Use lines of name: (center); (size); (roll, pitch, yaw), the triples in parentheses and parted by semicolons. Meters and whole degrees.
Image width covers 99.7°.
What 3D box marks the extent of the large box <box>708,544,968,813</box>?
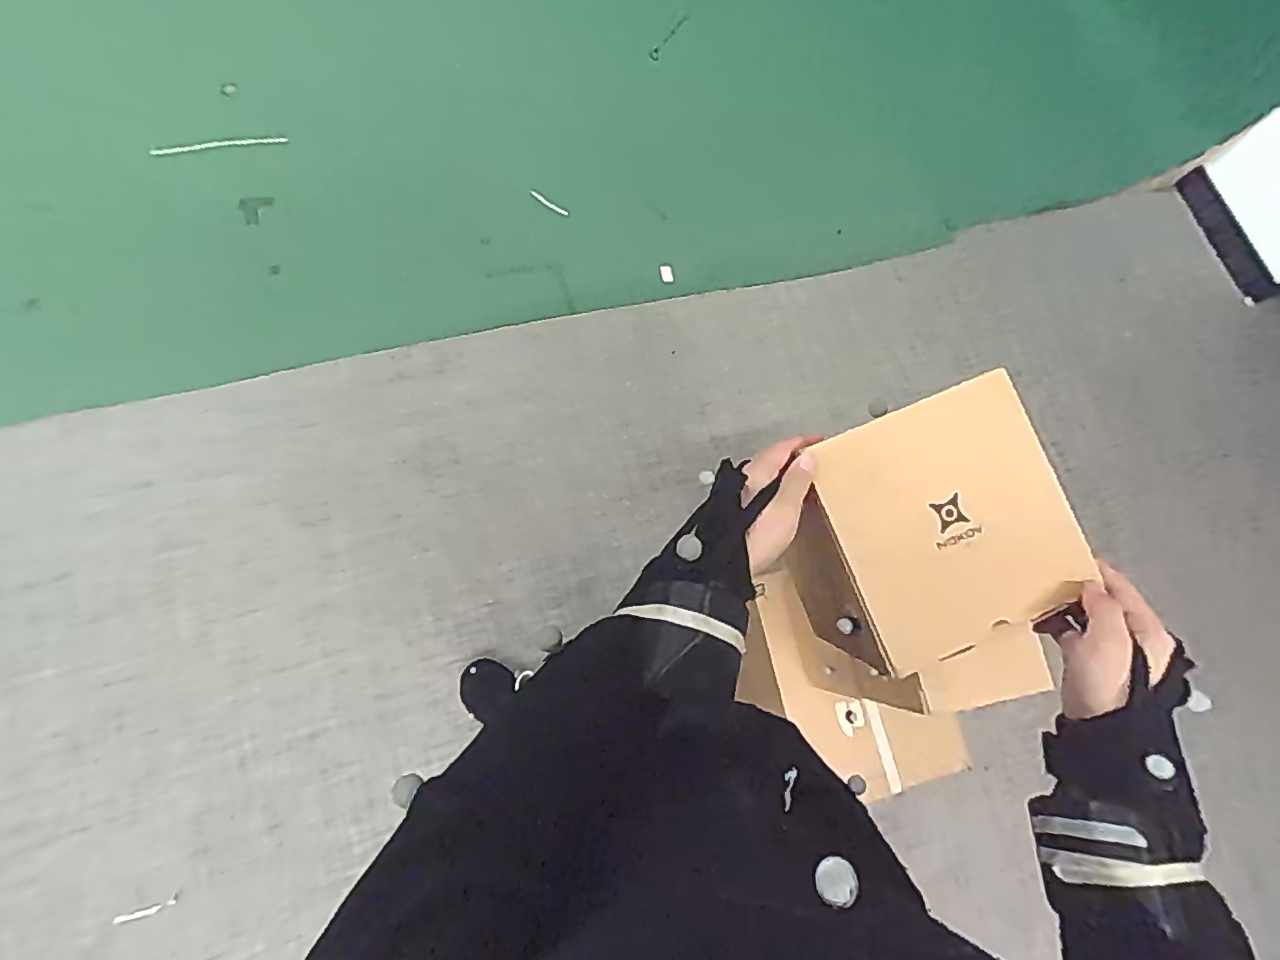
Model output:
large box: (0.368, 0.372, 1.107); (0.320, 0.320, 0.408); (-11, 79, -10)

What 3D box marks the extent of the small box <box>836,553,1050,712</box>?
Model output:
small box: (0.387, 0.198, 0.730); (0.179, 0.176, 0.168); (-8, 79, -11)
